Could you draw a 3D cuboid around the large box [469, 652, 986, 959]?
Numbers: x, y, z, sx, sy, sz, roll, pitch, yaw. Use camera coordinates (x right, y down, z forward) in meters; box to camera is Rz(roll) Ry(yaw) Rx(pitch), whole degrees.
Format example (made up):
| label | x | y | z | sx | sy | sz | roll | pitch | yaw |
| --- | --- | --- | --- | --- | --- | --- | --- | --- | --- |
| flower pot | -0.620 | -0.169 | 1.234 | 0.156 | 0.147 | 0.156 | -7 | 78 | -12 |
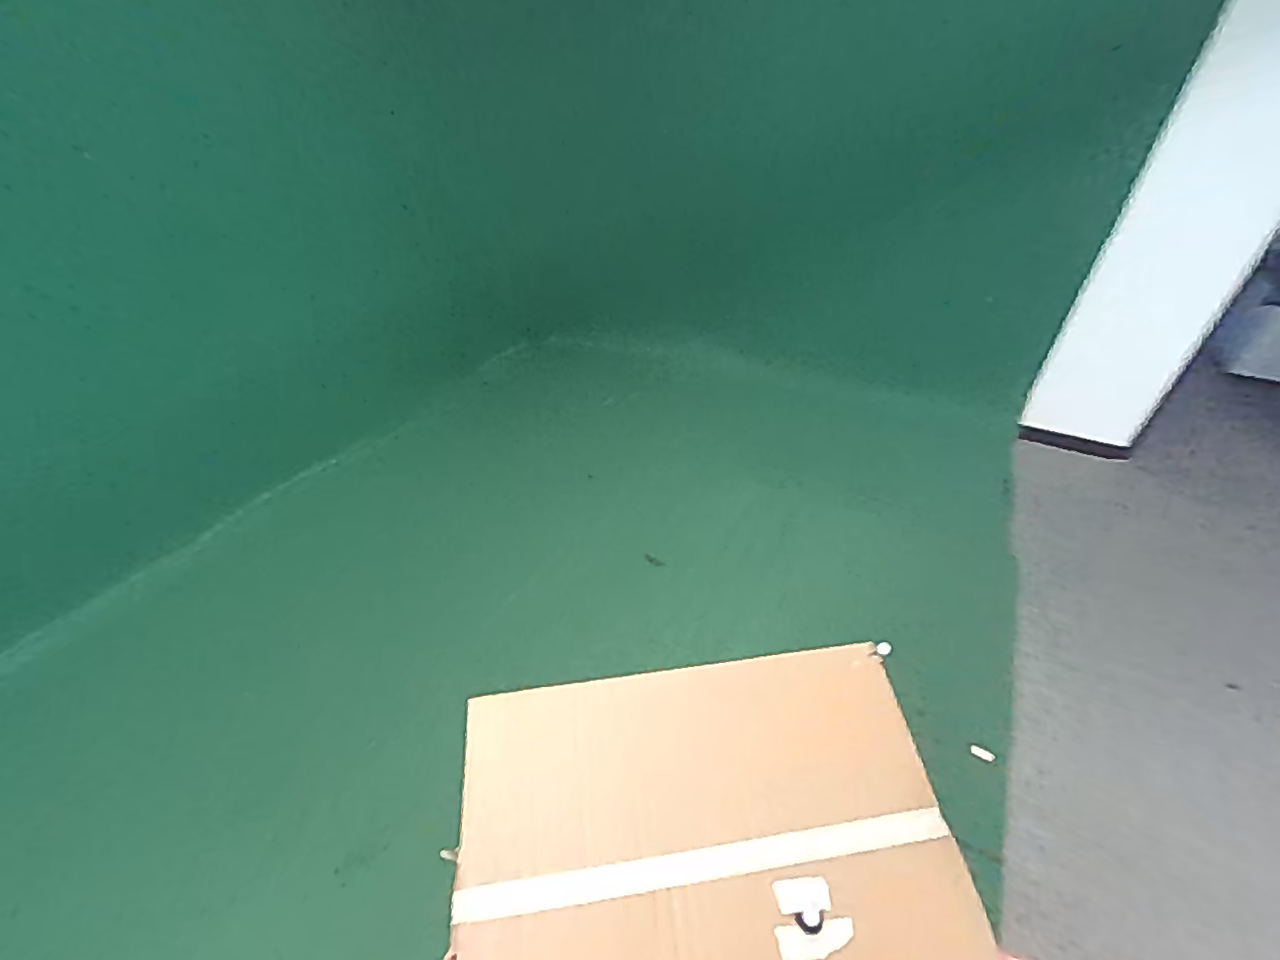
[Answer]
| label | x | y | z | sx | sy | sz | roll | pitch | yaw |
| --- | --- | --- | --- | --- | --- | --- | --- | --- | --- |
| large box | 0.056 | 0.410 | 0.569 | 0.408 | 0.320 | 0.320 | -6 | 54 | -5 |
